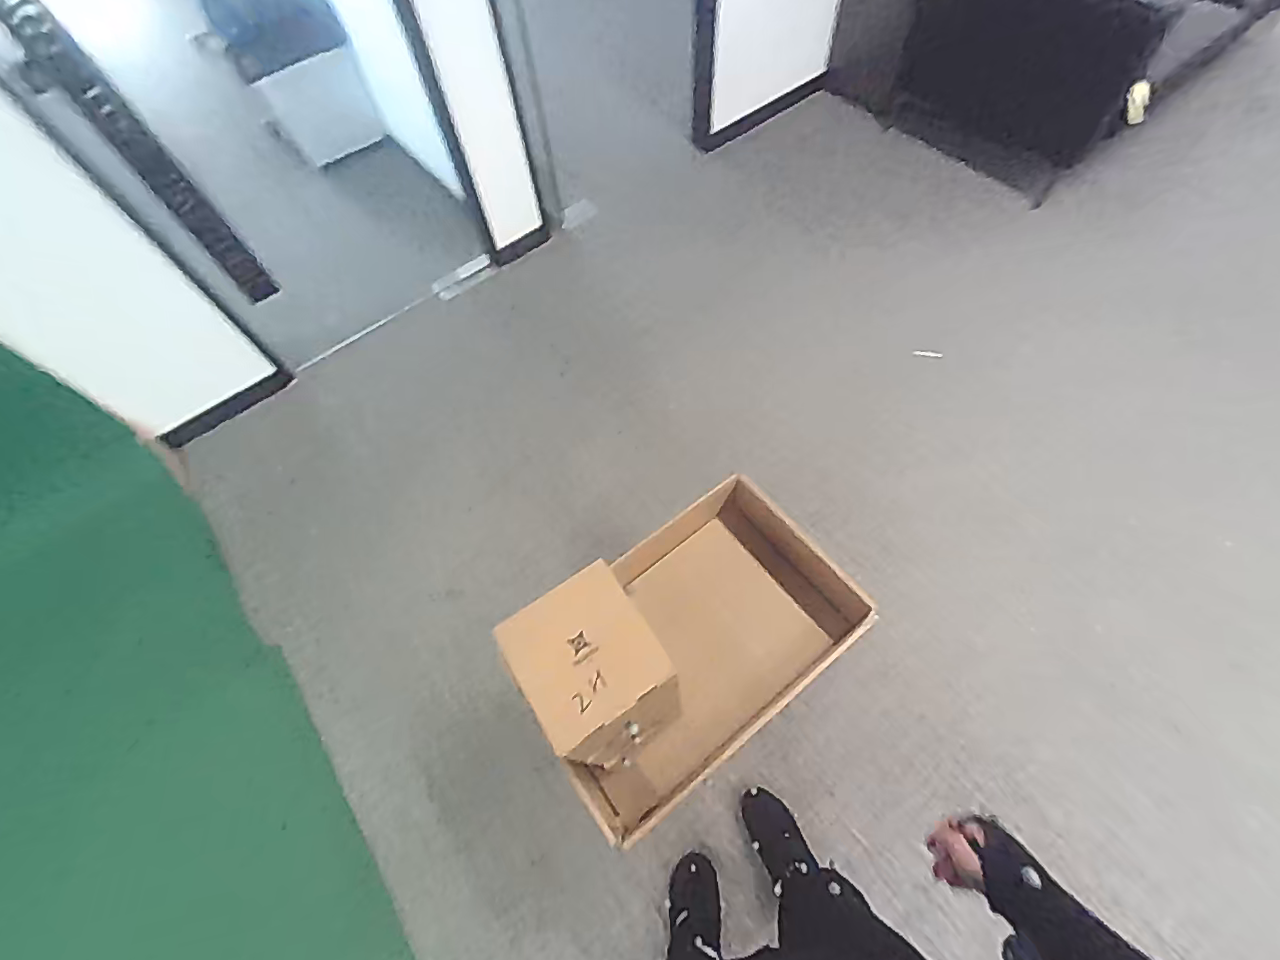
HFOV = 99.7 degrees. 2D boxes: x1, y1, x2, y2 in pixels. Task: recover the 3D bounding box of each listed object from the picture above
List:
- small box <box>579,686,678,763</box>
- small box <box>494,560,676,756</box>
[{"bbox_3d":[-0.054,0.326,0.866,0.168,0.176,0.179,-33,63,-14],"label":"small box"},{"bbox_3d":[-0.067,0.244,0.724,0.168,0.176,0.179,-32,63,-12],"label":"small box"}]
